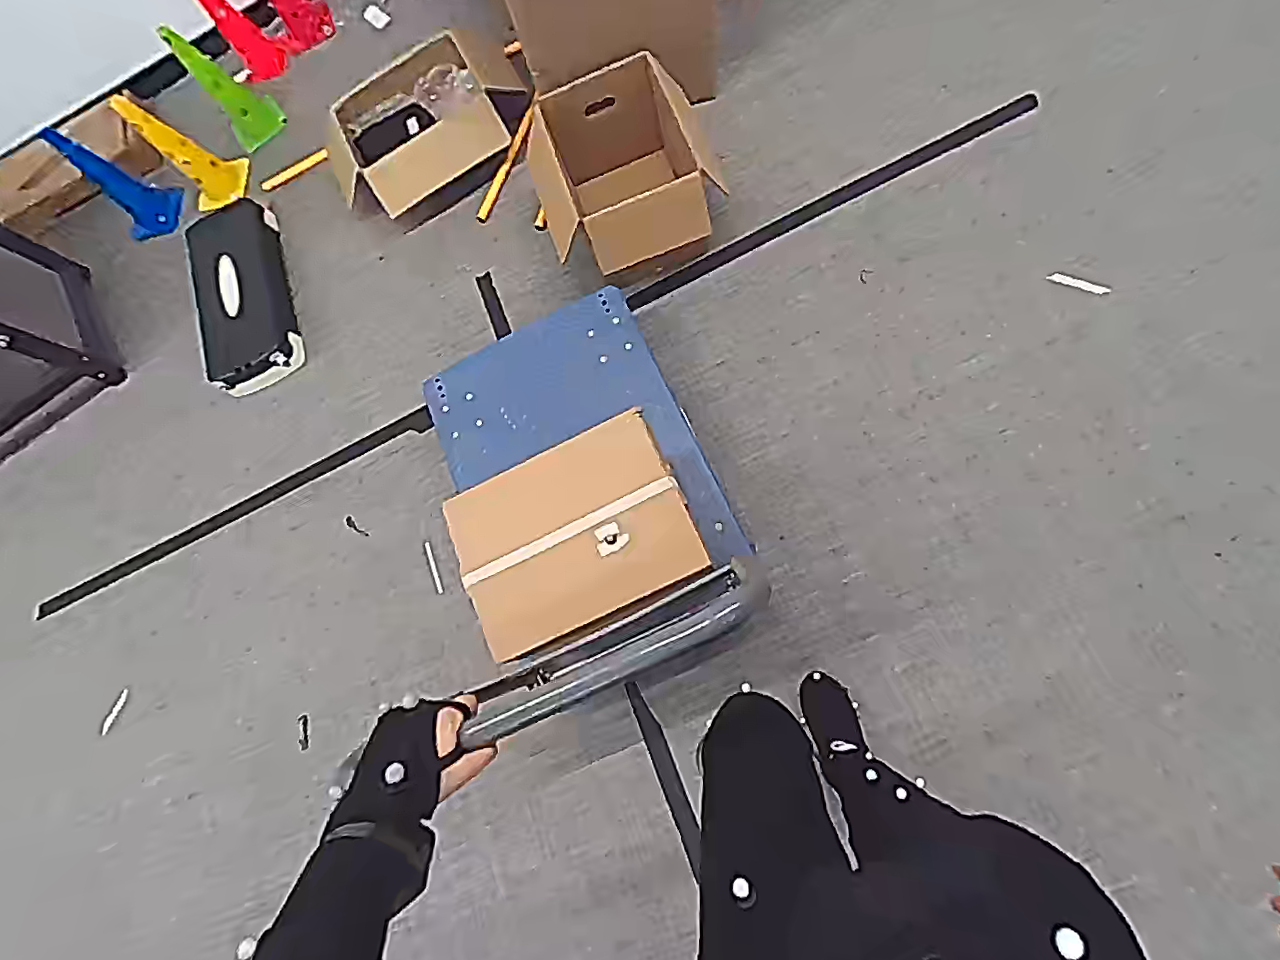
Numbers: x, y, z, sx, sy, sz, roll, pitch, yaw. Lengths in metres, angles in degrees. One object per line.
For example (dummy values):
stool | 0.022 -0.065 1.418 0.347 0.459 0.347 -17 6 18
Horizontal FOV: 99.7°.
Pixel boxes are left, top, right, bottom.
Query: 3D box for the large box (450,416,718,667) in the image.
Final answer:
large box | -0.092 0.137 1.086 0.408 0.320 0.320 -26 74 3
